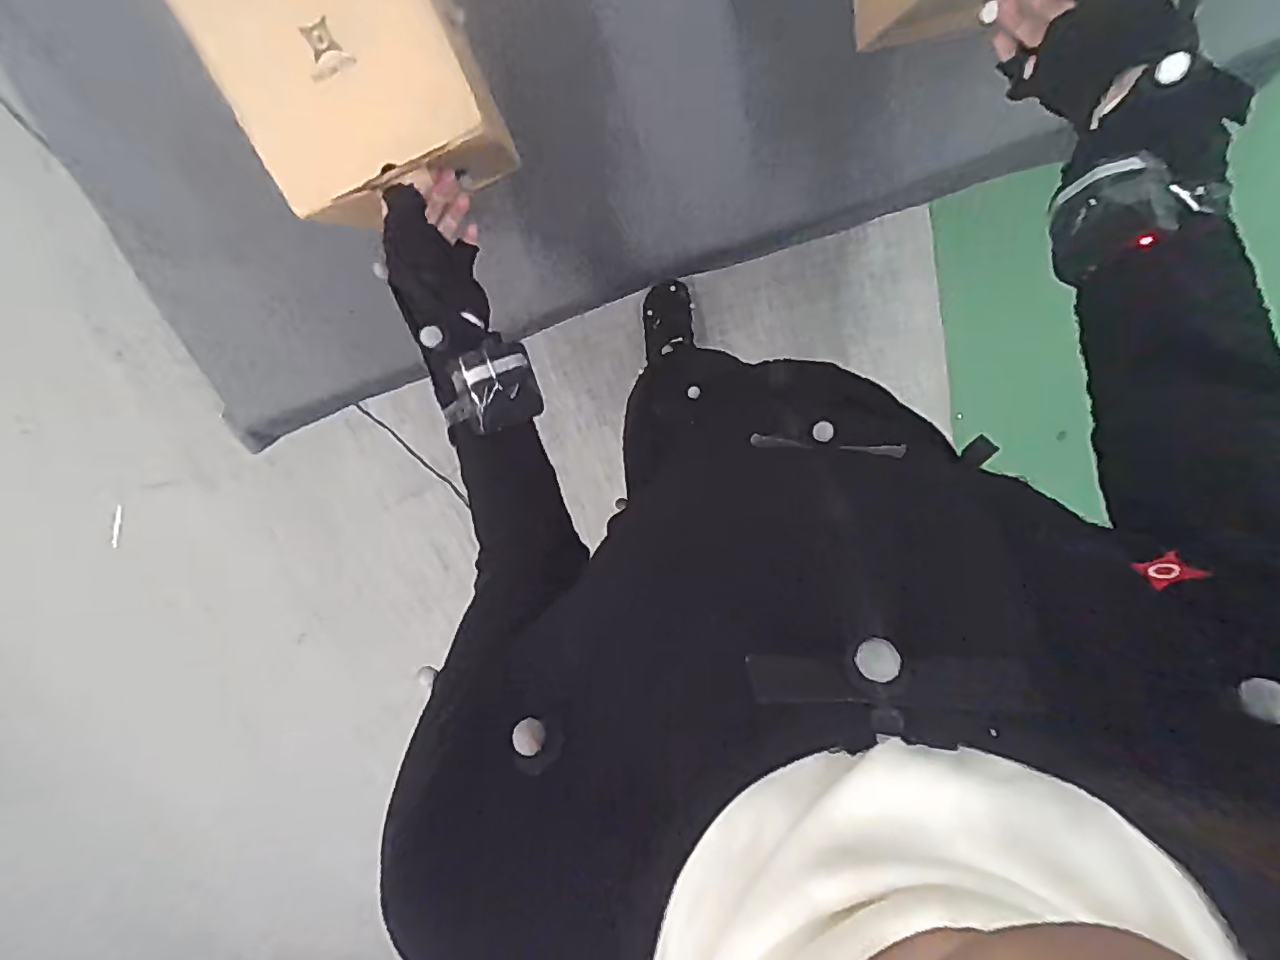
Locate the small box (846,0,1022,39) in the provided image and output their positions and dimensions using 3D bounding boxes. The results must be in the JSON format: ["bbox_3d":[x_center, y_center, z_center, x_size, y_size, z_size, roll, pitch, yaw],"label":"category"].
[{"bbox_3d":[0.265,-0.480,0.417,0.168,0.176,0.179,-12,113,4],"label":"small box"}]

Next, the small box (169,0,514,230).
[{"bbox_3d":[-0.228,-0.335,0.467,0.168,0.176,0.179,-23,110,6],"label":"small box"}]
